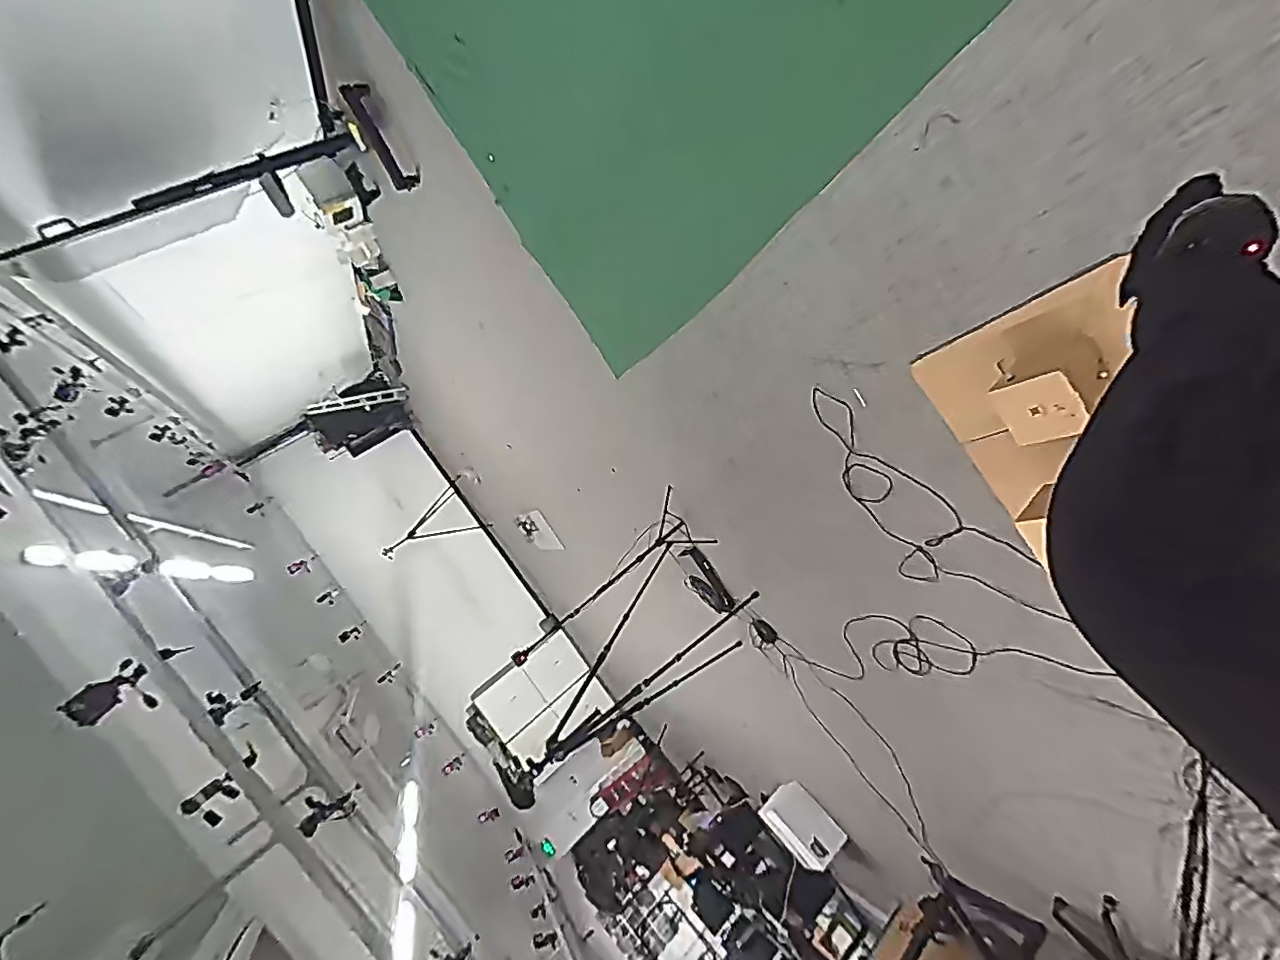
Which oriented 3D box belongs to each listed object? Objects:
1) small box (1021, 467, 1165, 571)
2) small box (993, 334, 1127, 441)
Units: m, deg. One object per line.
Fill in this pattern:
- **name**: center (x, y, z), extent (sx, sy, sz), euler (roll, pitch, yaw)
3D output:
- **small box**: center (1.051, 0.094, 1.257), extent (0.168, 0.176, 0.179), euler (54, 156, -2)
- **small box**: center (1.011, -0.221, 1.304), extent (0.168, 0.176, 0.179), euler (54, 155, -6)
